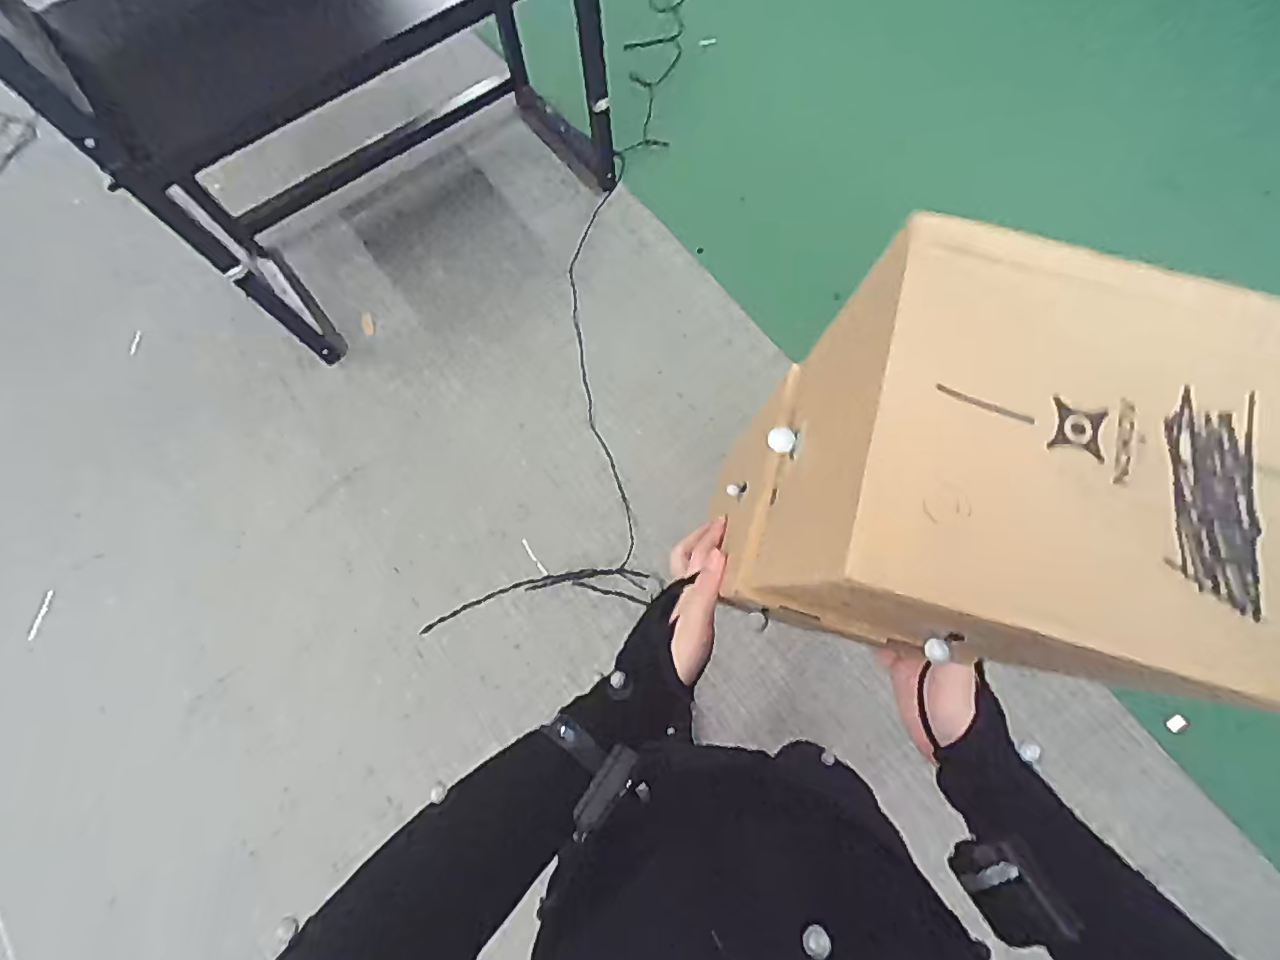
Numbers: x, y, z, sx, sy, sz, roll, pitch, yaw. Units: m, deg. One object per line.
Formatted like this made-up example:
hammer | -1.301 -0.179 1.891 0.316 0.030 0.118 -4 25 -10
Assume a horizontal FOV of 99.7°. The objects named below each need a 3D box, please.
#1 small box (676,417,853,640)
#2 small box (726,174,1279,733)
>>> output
small box | 0.142 0.058 0.593 0.168 0.176 0.179 19 78 2
small box | 0.158 -0.003 0.270 0.179 0.176 0.168 17 79 3
